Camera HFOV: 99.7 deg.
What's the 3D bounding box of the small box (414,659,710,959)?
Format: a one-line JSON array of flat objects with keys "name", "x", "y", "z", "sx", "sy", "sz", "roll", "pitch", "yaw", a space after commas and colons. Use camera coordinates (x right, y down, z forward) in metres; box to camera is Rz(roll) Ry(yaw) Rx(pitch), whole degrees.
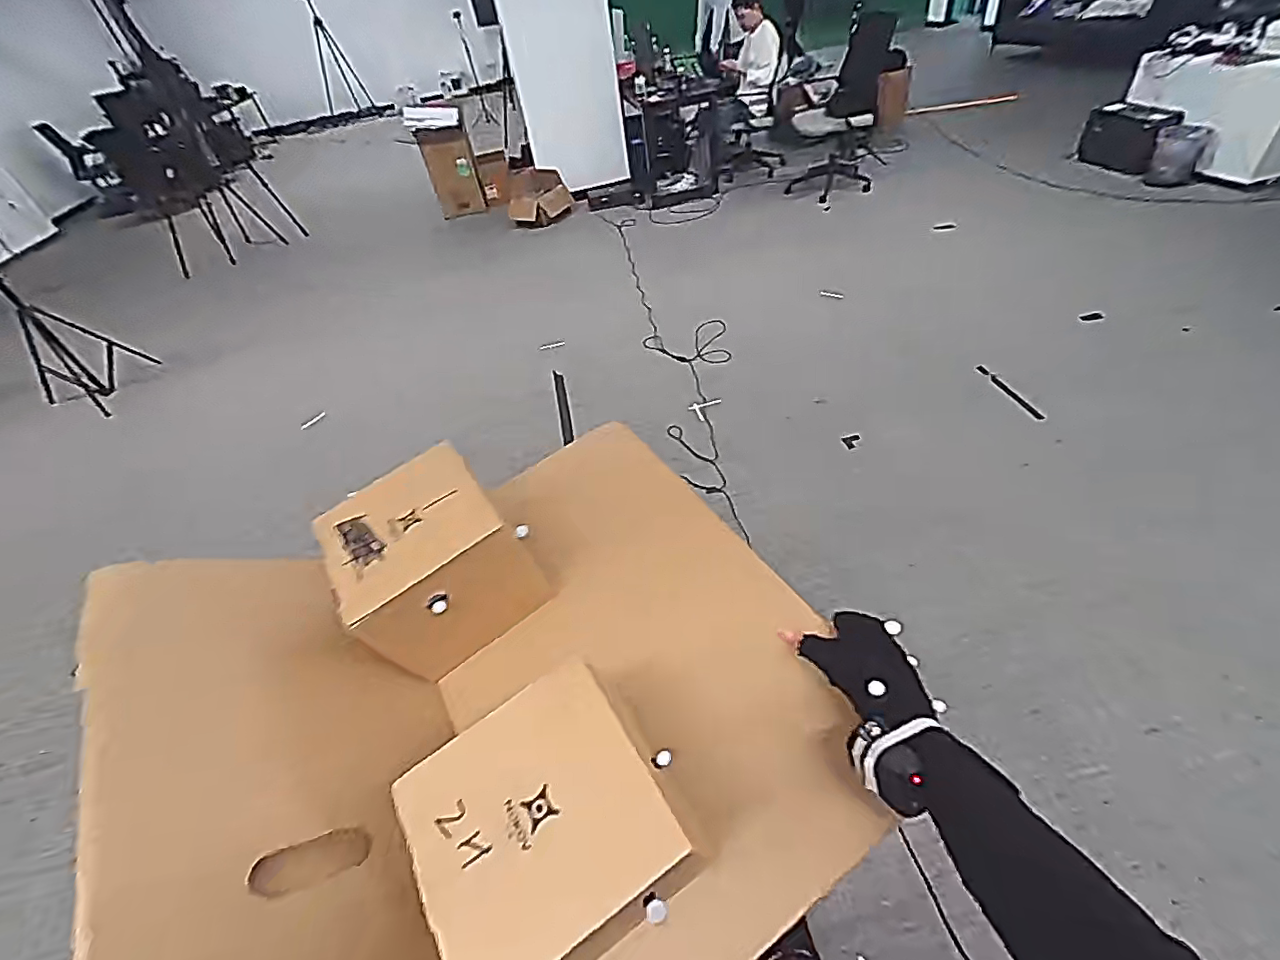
[{"name": "small box", "x": -0.054, "y": 0.292, "z": 0.463, "sx": 0.179, "sy": 0.176, "sz": 0.168, "roll": -33, "pitch": 52, "yaw": -10}]
